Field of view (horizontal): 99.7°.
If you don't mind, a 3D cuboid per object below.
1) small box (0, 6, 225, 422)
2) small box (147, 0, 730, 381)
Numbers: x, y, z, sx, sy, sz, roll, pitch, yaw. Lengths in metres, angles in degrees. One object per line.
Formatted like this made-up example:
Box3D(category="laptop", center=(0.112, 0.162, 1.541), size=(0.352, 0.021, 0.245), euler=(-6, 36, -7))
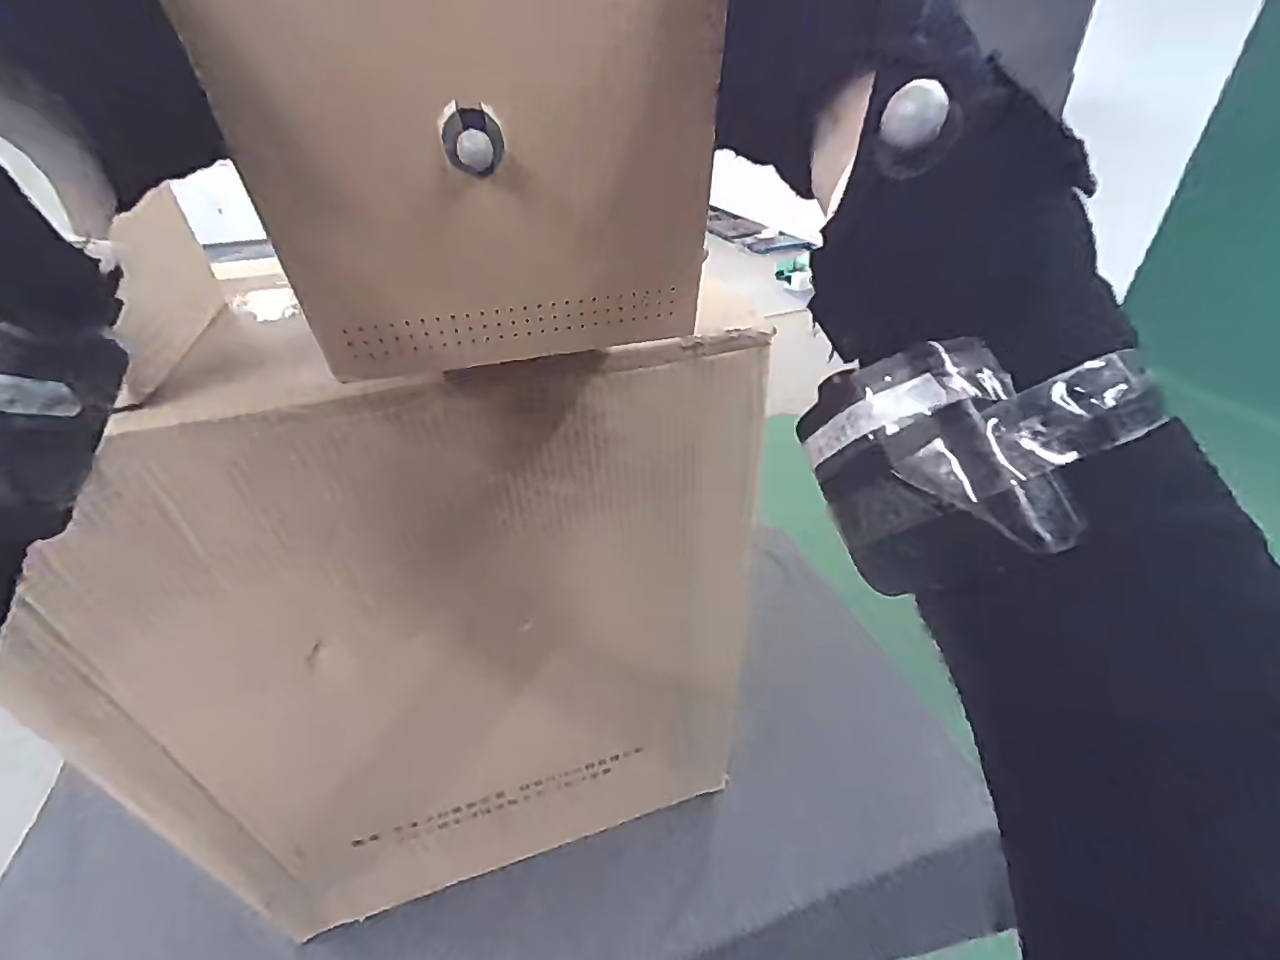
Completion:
Box3D(category="small box", center=(-0.367, -0.136, 0.288), size=(0.168, 0.176, 0.179), euler=(-13, 39, -13))
Box3D(category="small box", center=(-0.074, -0.168, 0.256), size=(0.179, 0.176, 0.168), euler=(-10, 48, -11))
